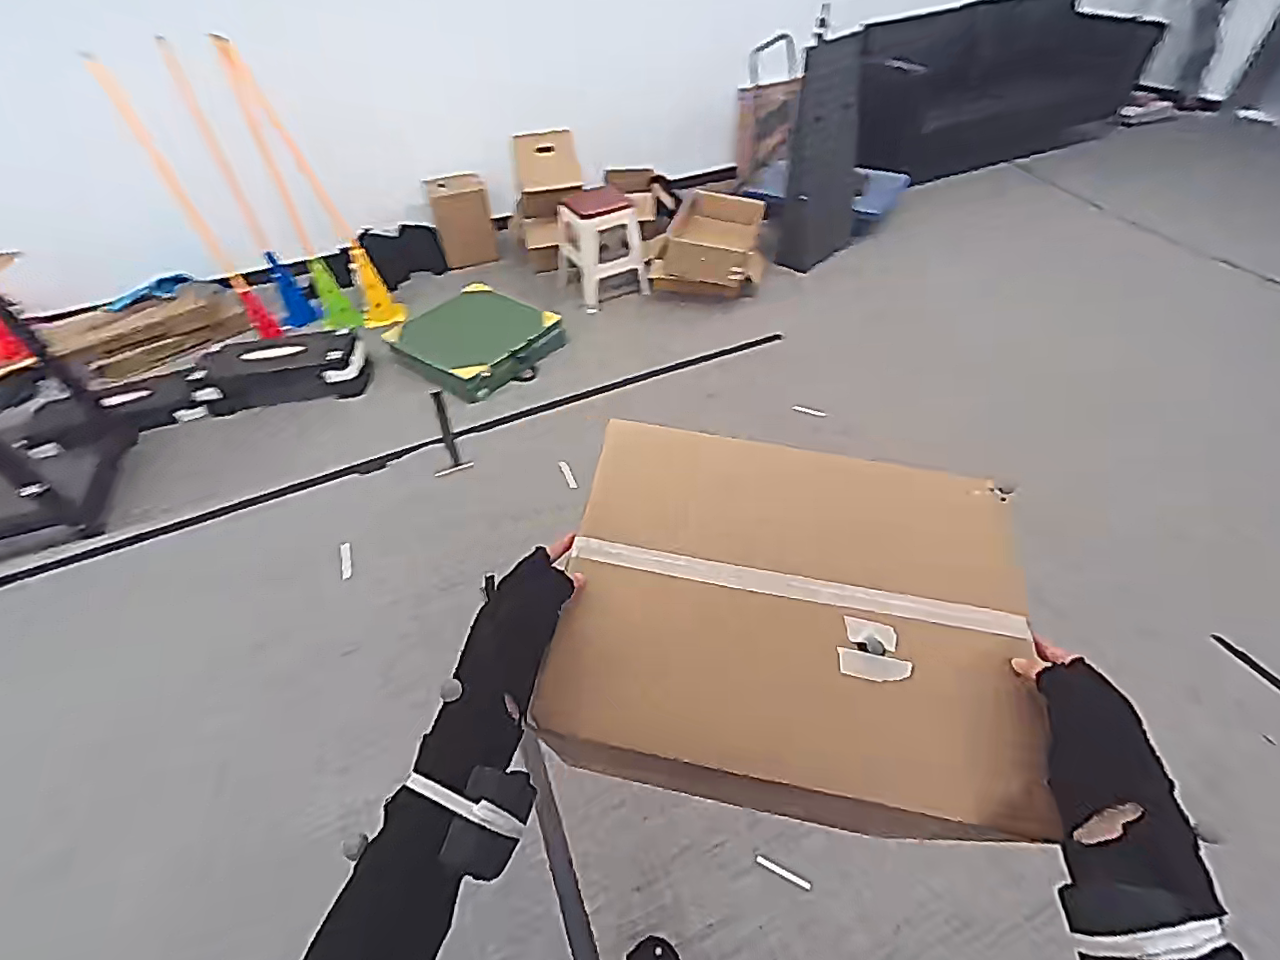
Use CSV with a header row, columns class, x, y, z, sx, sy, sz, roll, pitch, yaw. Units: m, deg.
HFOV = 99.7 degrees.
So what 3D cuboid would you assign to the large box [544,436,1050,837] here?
class,x,y,z,sx,sy,sz,roll,pitch,yaw
large box,0.138,0.189,0.624,0.408,0.320,0.320,11,58,5
